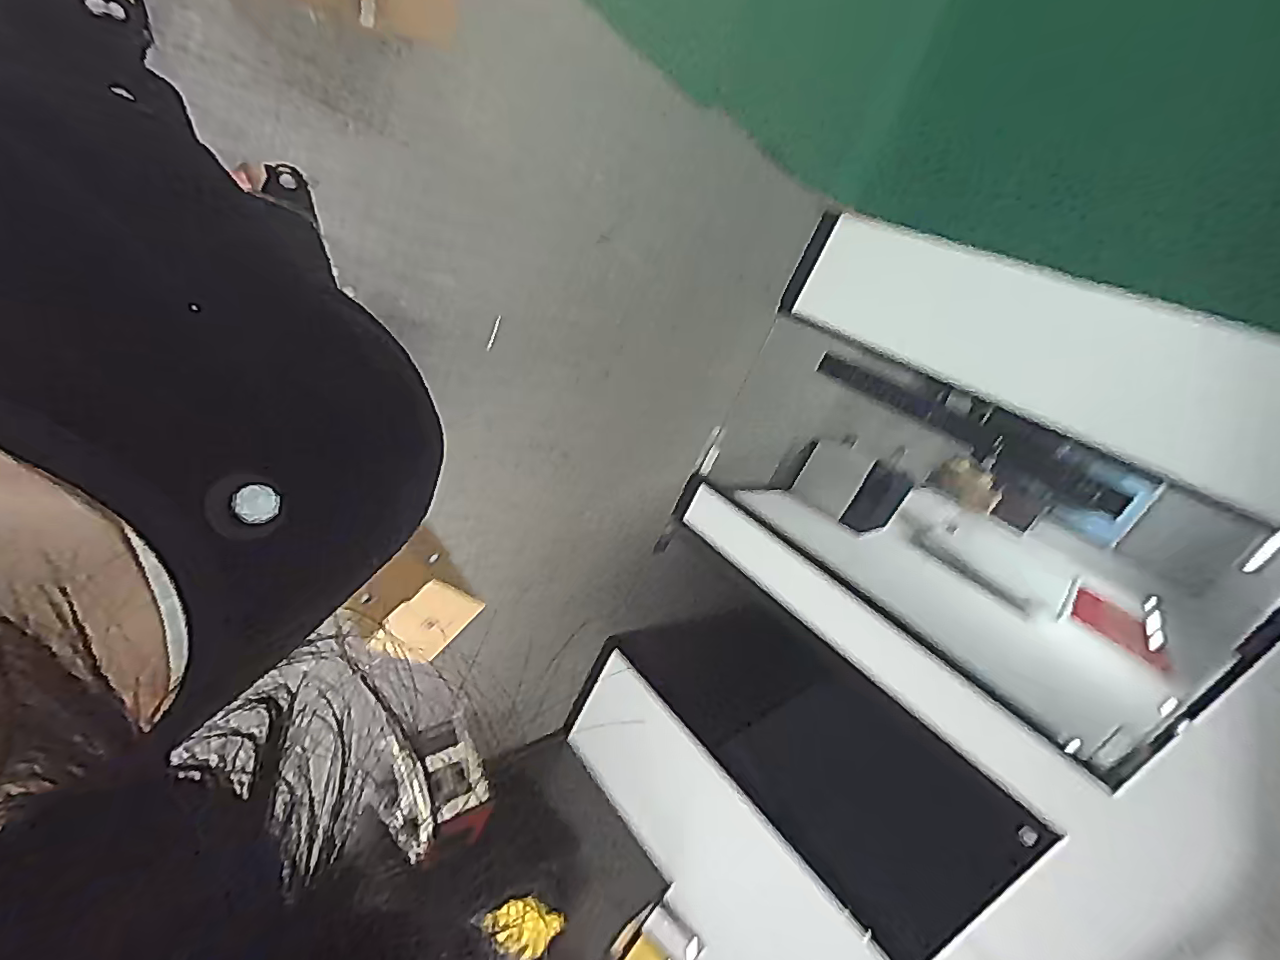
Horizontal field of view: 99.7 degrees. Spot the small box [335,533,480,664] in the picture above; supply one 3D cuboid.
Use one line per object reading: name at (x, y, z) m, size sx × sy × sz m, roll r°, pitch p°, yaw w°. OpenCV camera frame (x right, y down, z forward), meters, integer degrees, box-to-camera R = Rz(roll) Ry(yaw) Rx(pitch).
small box at (-0.462, 0.231, 1.074) m, size 0.168 × 0.176 × 0.179 m, roll -45°, pitch 147°, yaw -7°
